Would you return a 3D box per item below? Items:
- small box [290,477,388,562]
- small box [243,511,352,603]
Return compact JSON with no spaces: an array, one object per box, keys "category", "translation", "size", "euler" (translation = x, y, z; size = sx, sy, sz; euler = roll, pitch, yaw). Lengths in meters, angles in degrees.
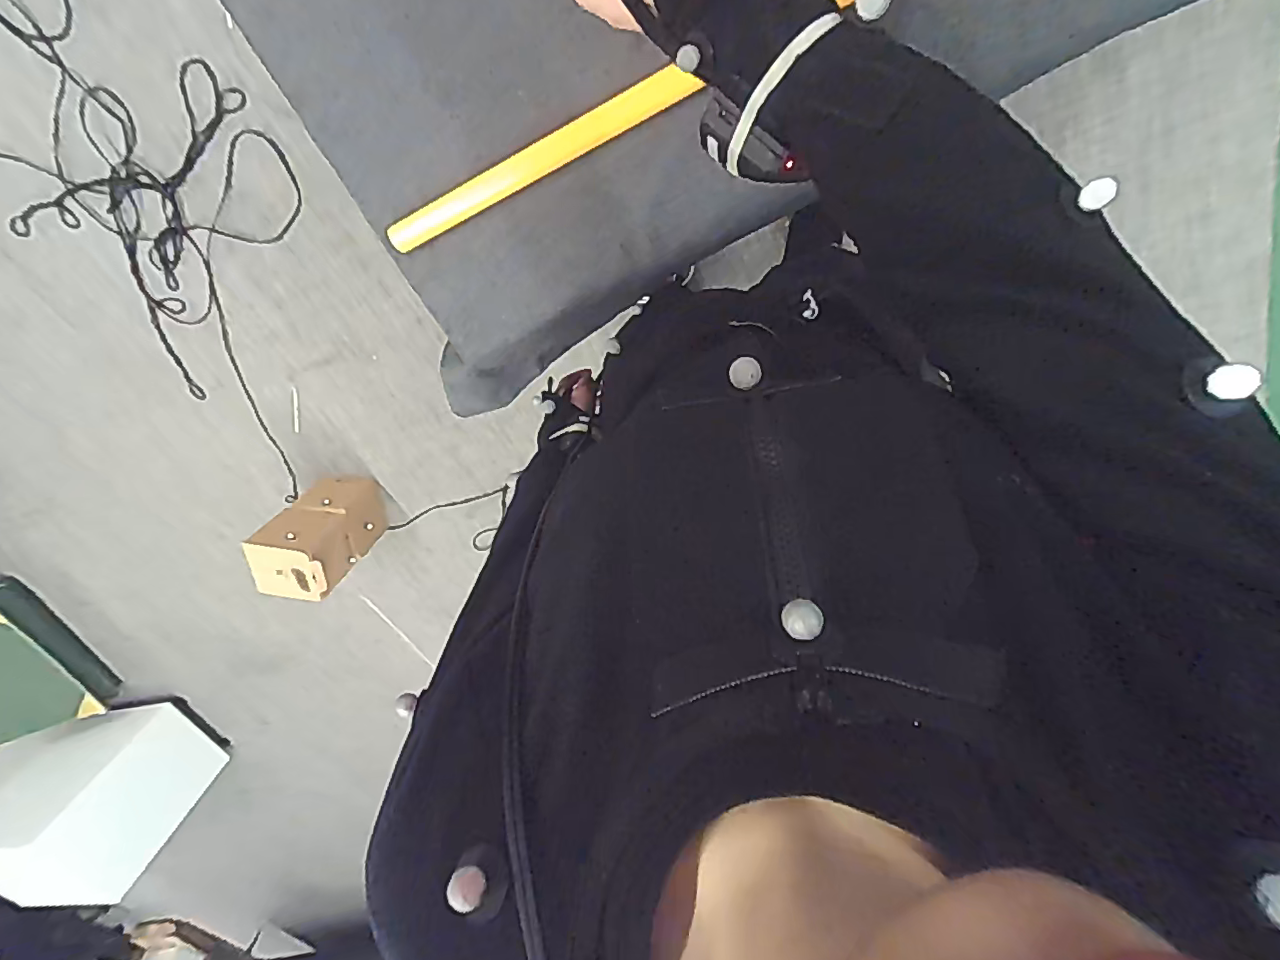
[{"category":"small box","translation":[-0.864,0.113,1.572],"size":[0.168,0.176,0.179],"euler":[3,120,5]},{"category":"small box","translation":[-0.891,0.198,1.433],"size":[0.179,0.176,0.168],"euler":[8,120,3]}]
